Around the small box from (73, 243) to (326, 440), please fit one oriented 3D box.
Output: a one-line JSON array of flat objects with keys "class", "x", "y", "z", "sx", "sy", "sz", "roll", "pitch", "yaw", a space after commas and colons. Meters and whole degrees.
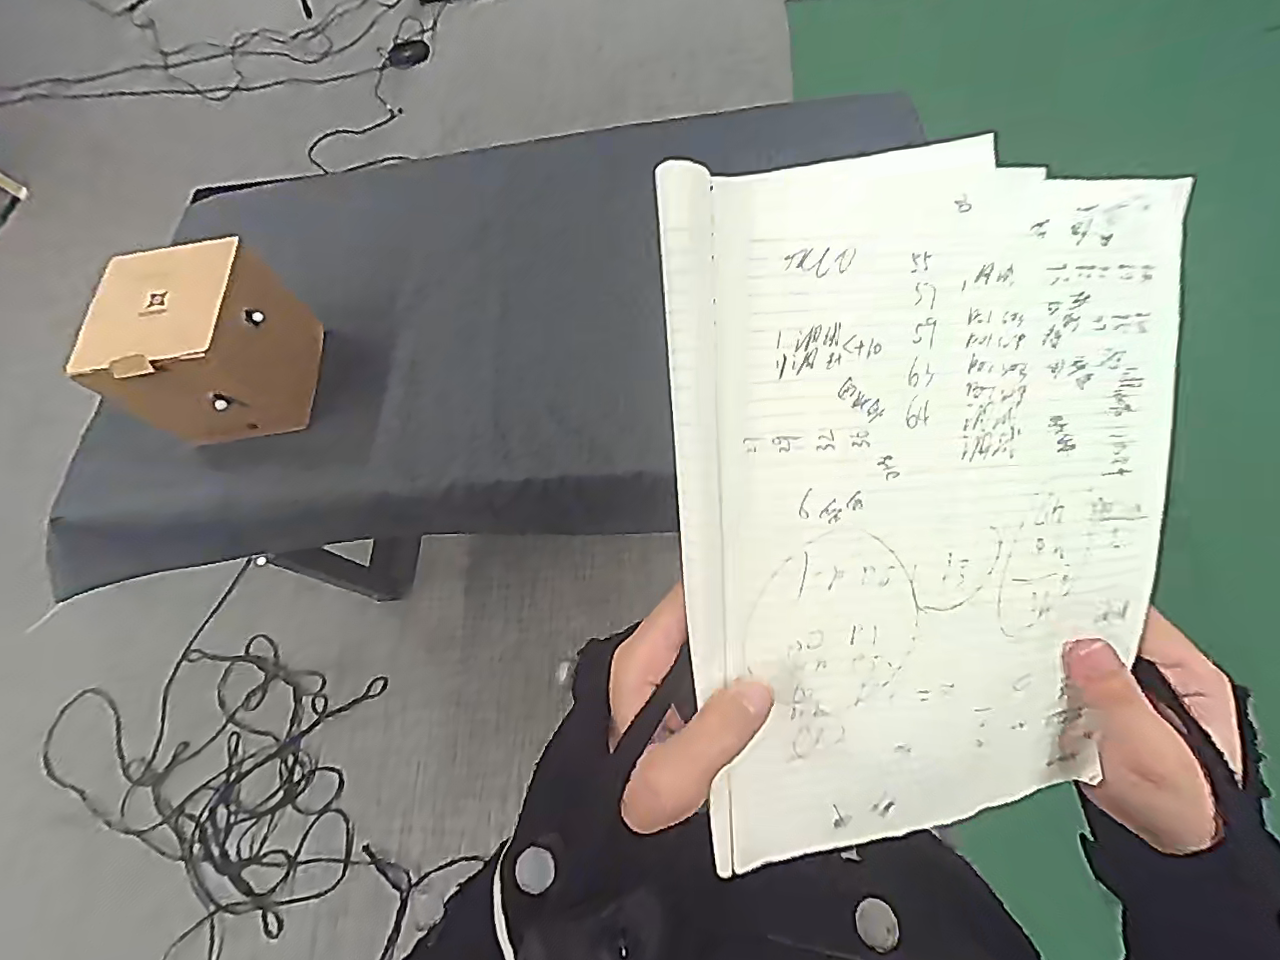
[{"class": "small box", "x": -0.535, "y": -0.163, "z": 0.689, "sx": 0.168, "sy": 0.176, "sz": 0.179, "roll": -8, "pitch": 64, "yaw": 3}]
